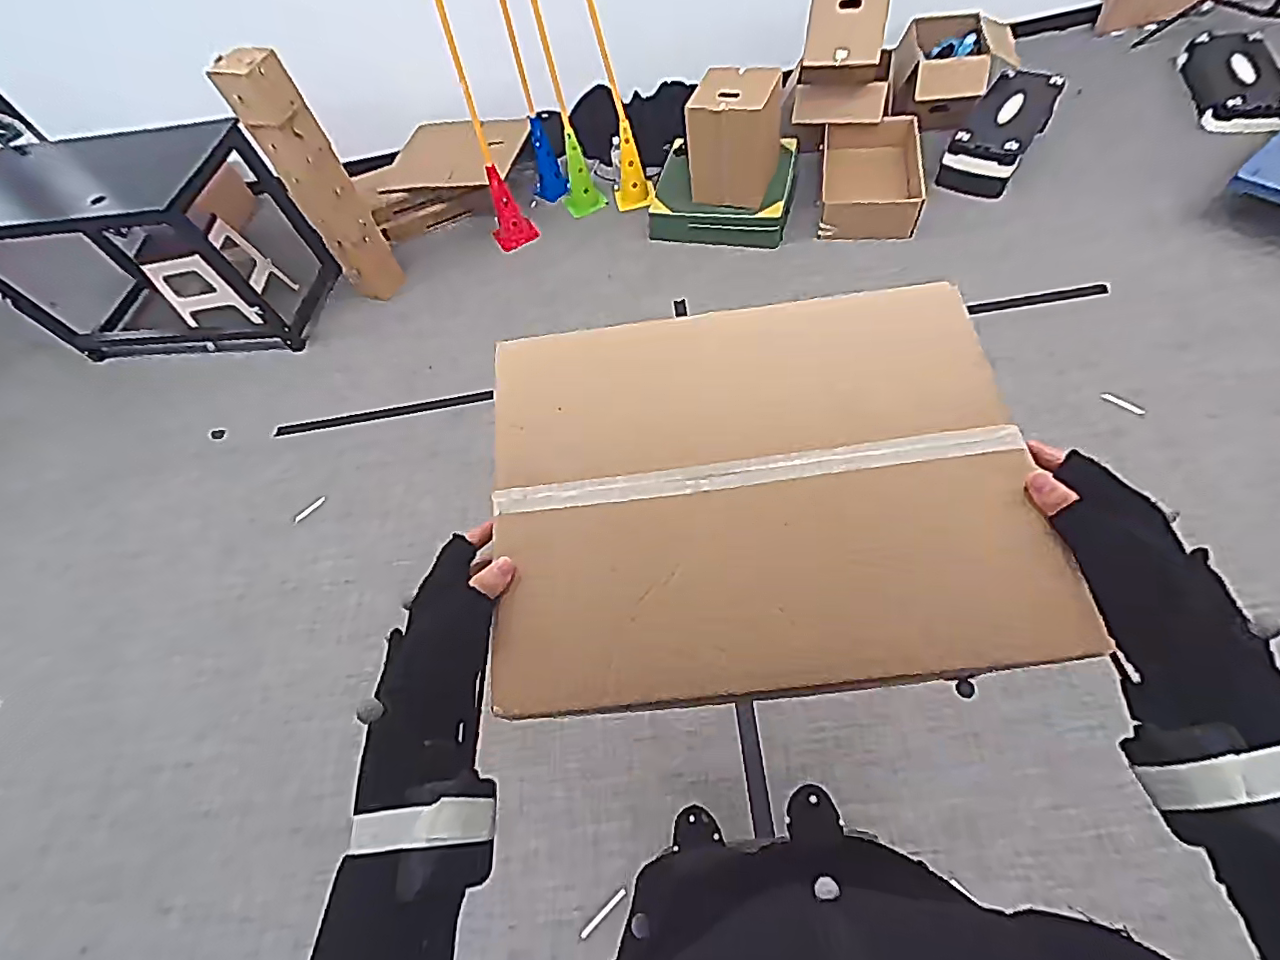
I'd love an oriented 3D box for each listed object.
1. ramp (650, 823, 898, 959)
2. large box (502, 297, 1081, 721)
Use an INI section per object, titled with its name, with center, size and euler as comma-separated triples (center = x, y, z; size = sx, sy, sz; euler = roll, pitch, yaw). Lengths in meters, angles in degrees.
[ramp]
center = 0.317, 1.255, 1.030
size = 0.509, 0.206, 0.991
euler = -9, 59, 2
[large box]
center = 0.100, 0.058, 0.562
size = 0.408, 0.320, 0.320
euler = -7, 66, 2
